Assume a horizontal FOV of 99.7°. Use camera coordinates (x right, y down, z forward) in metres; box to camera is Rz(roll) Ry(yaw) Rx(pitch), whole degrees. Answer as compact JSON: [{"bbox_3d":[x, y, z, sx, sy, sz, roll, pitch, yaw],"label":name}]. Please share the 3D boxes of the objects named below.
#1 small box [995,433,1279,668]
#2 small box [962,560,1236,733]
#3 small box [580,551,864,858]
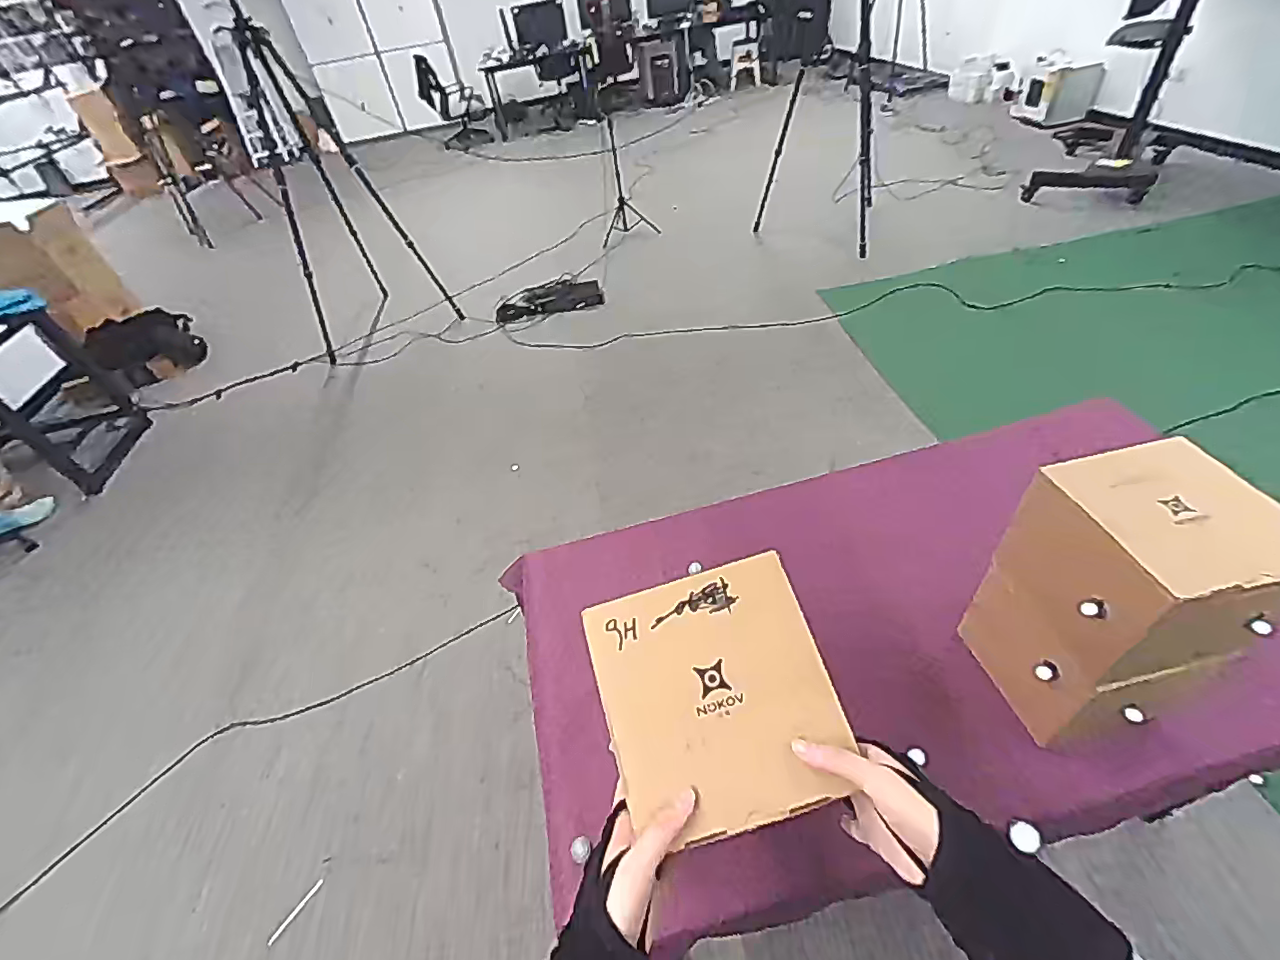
[{"bbox_3d":[0.528,0.081,0.577,0.168,0.176,0.179,-12,43,-1],"label":"small box"},{"bbox_3d":[0.553,0.199,0.687,0.168,0.176,0.179,-14,43,-2],"label":"small box"},{"bbox_3d":[0.062,0.183,0.467,0.168,0.176,0.179,-18,67,-1],"label":"small box"}]
